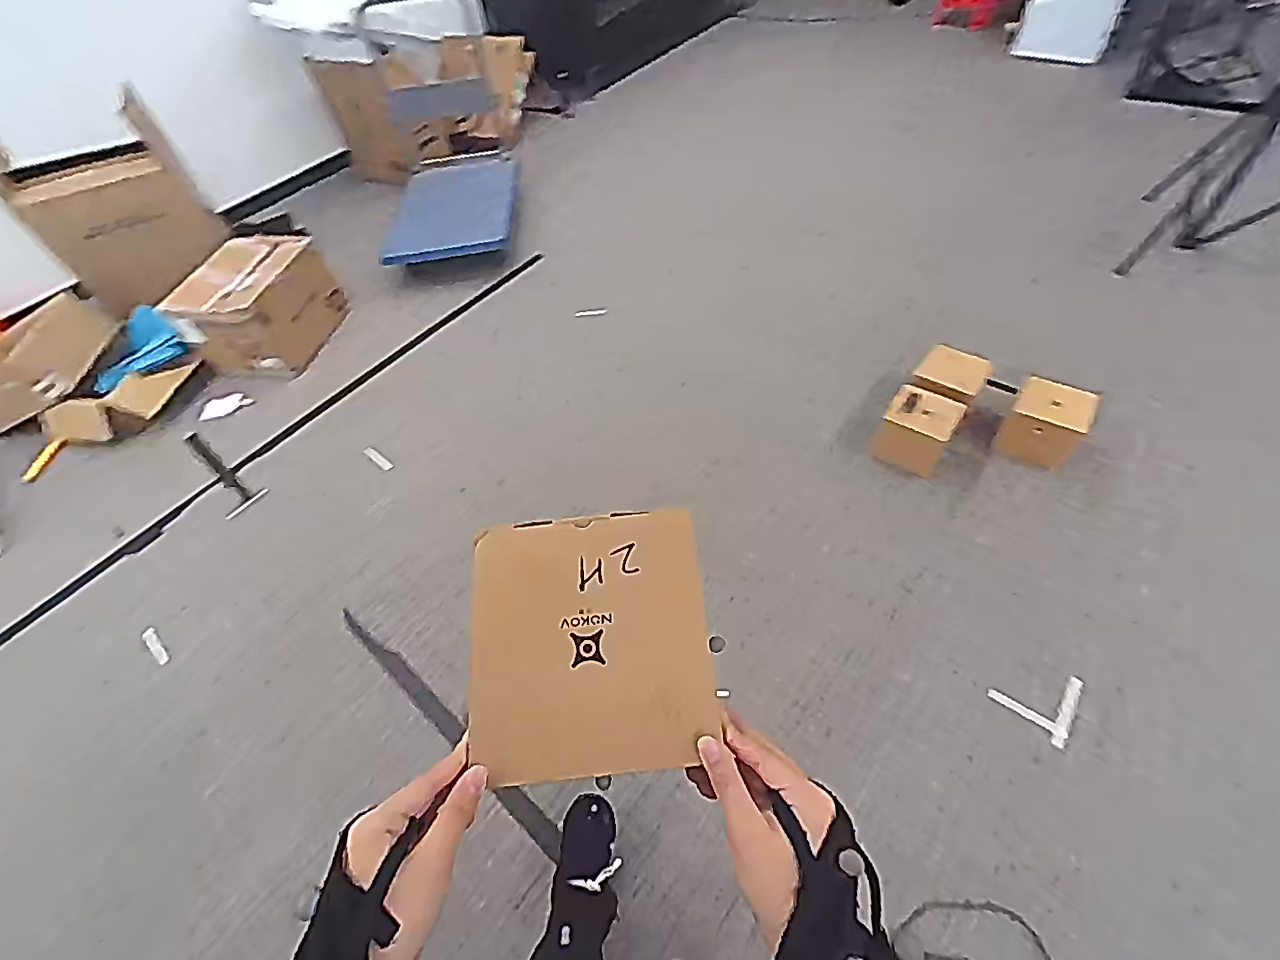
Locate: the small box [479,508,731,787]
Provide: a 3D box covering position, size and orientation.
[{"bbox_3d":[-0.024,0.139,0.447,0.168,0.176,0.179,-6,66,0],"label":"small box"}]

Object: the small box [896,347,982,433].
[{"bbox_3d":[0.939,-0.284,1.695,0.179,0.176,0.168,31,63,27],"label":"small box"}]

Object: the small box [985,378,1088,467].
[{"bbox_3d":[1.152,-0.163,1.581,0.179,0.176,0.168,25,61,25],"label":"small box"}]
